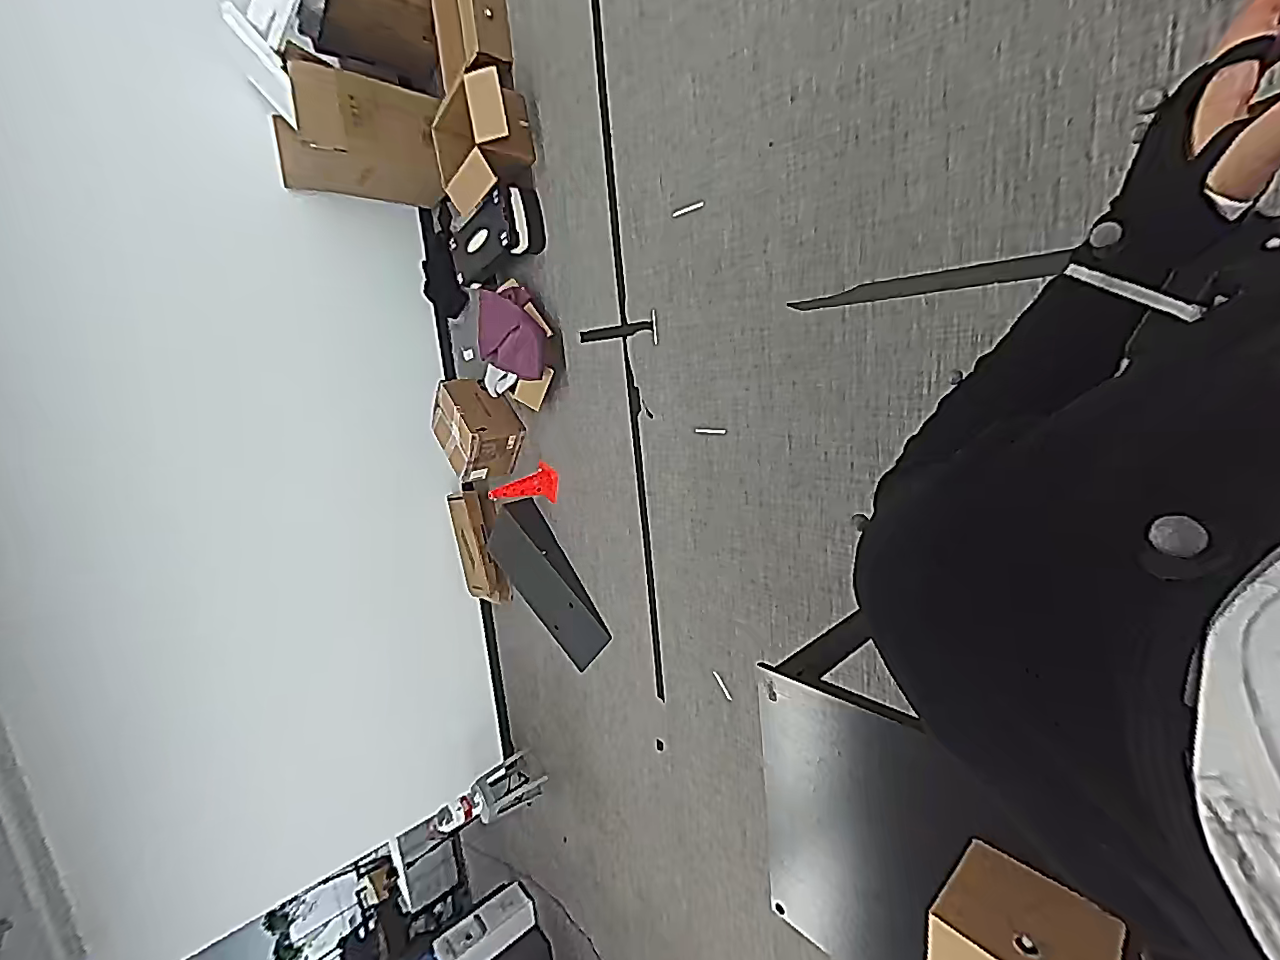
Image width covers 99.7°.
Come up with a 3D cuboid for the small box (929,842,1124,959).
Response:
[{"bbox_3d":[0.512,0.640,0.721,0.179,0.176,0.168,11,109,50],"label":"small box"}]
